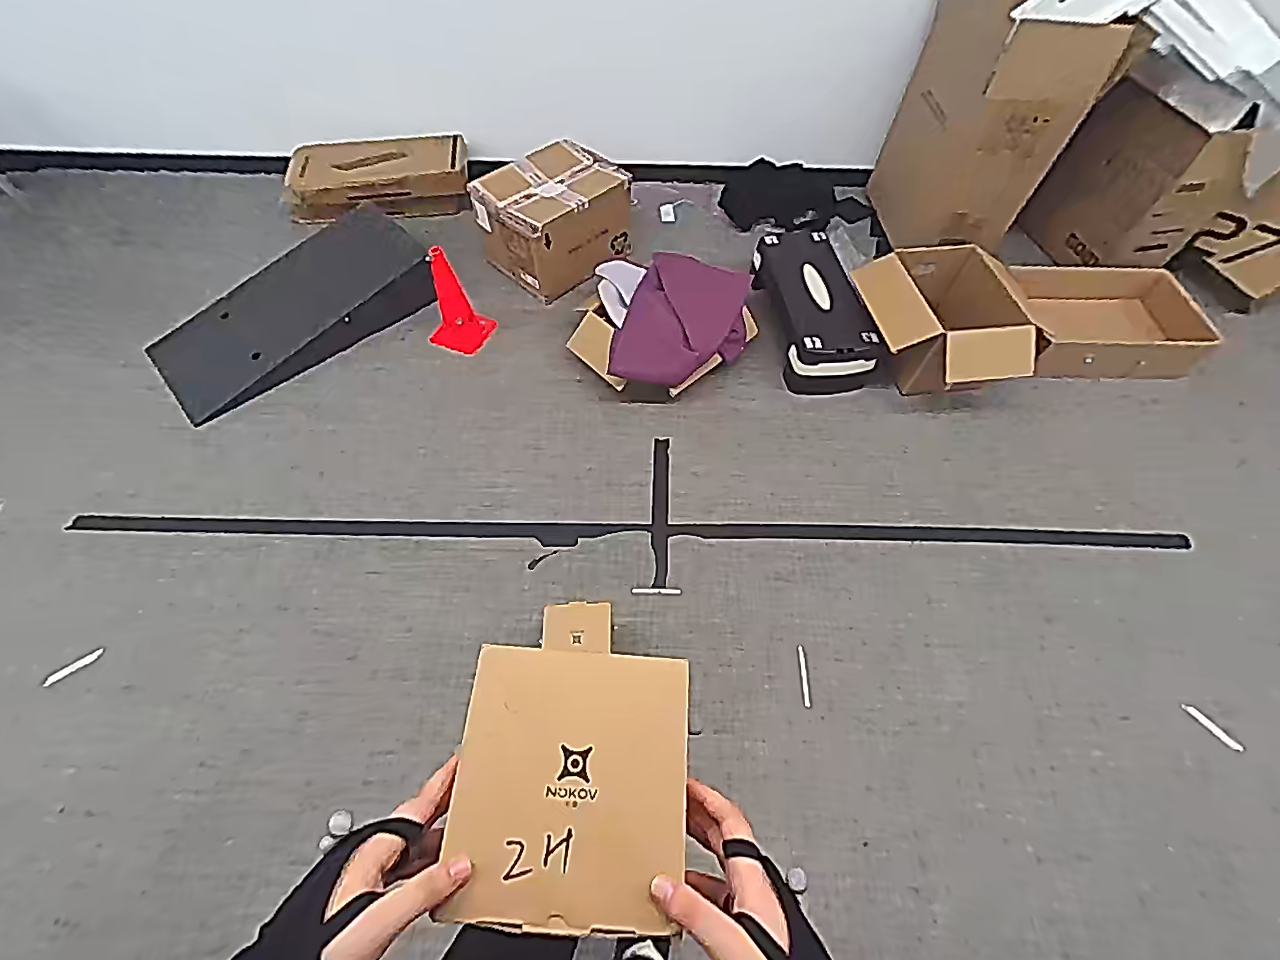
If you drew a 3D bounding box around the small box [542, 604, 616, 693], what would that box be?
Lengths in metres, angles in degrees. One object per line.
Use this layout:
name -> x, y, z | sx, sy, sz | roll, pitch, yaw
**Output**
small box -> -0.146, 0.423, 1.351 | 0.168, 0.176, 0.179 | -3, 59, -1
